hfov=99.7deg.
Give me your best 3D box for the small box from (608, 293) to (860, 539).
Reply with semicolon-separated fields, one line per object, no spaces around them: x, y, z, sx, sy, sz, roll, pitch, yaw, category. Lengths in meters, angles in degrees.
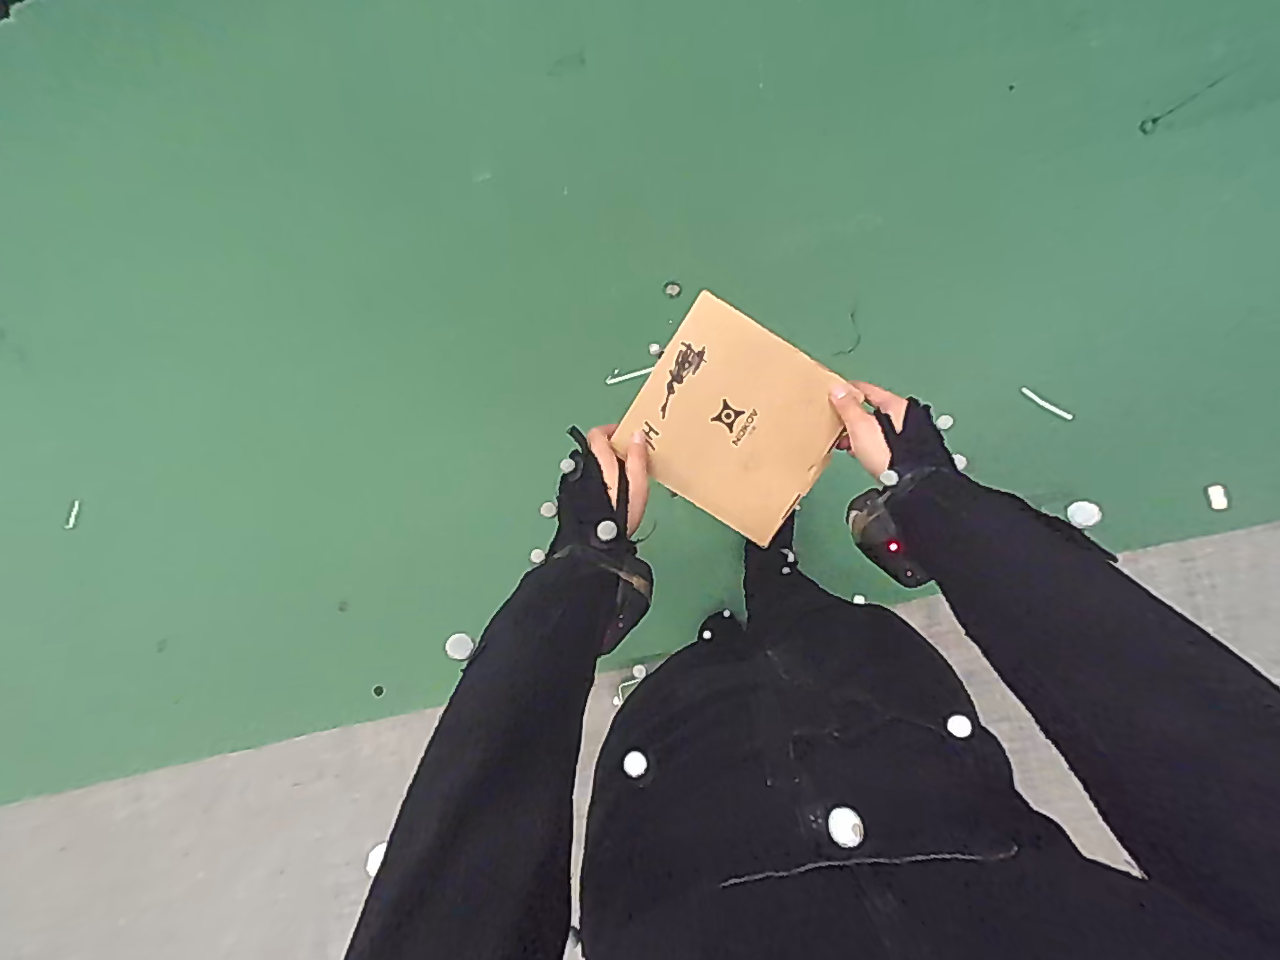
0.086;-0.065;0.571;0.179;0.176;0.168;32;95;-3;small box
